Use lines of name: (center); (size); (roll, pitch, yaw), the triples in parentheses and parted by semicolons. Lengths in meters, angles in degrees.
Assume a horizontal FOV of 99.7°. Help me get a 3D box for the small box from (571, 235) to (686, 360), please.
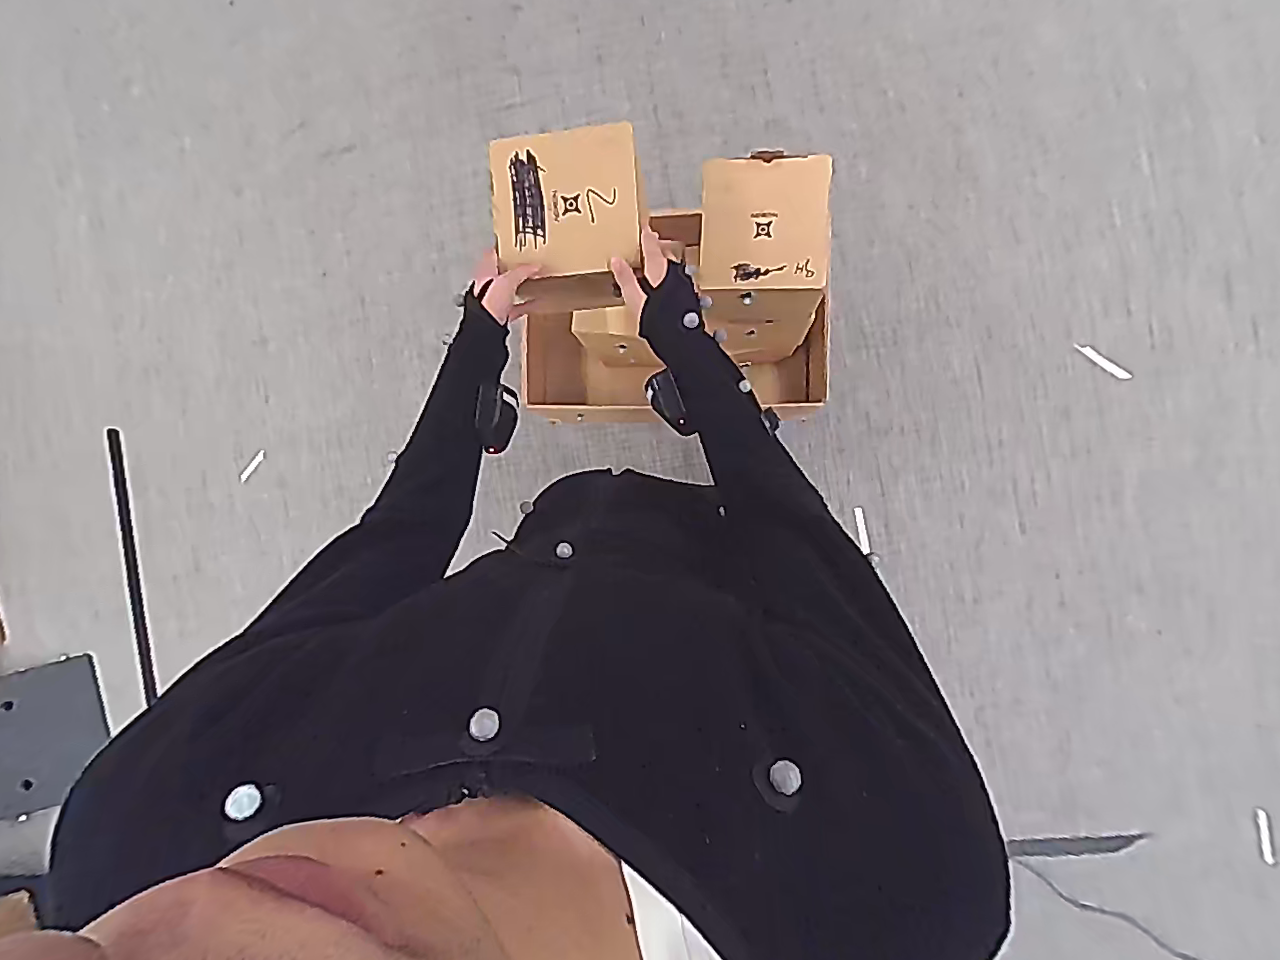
small box: (-0.012, -0.317, 0.970); (0.179, 0.176, 0.168); (7, 91, 7)

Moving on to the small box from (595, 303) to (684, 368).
small box: (0.003, -0.333, 1.133); (0.179, 0.176, 0.168); (2, 90, 6)
